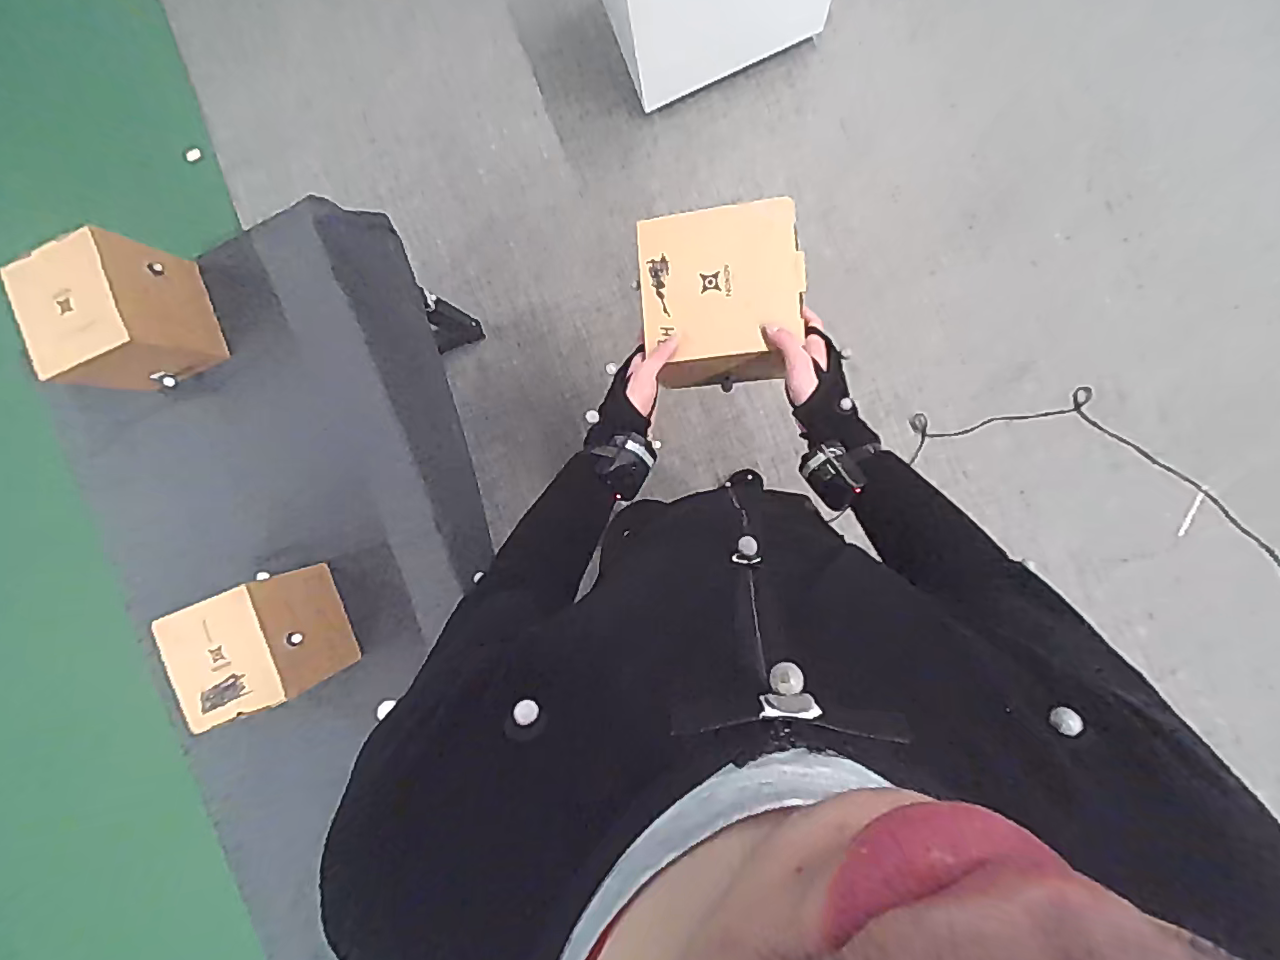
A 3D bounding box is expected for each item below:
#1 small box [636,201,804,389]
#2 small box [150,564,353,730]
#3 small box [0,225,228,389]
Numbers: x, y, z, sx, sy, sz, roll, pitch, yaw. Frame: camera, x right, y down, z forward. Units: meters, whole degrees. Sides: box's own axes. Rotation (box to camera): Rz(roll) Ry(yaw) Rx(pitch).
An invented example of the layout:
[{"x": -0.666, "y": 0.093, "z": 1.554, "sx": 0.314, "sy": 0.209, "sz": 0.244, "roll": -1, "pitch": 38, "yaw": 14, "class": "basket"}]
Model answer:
[{"x": 0.097, "y": -0.212, "z": 0.667, "sx": 0.179, "sy": 0.176, "sz": 0.168, "roll": -4, "pitch": 89, "yaw": 9, "class": "small box"}, {"x": -0.589, "y": 0.249, "z": 0.843, "sx": 0.168, "sy": 0.176, "sz": 0.179, "roll": -21, "pitch": 89, "yaw": 7, "class": "small box"}, {"x": -0.808, "y": -0.257, "z": 0.848, "sx": 0.168, "sy": 0.176, "sz": 0.179, "roll": -20, "pitch": 91, "yaw": 8, "class": "small box"}]
